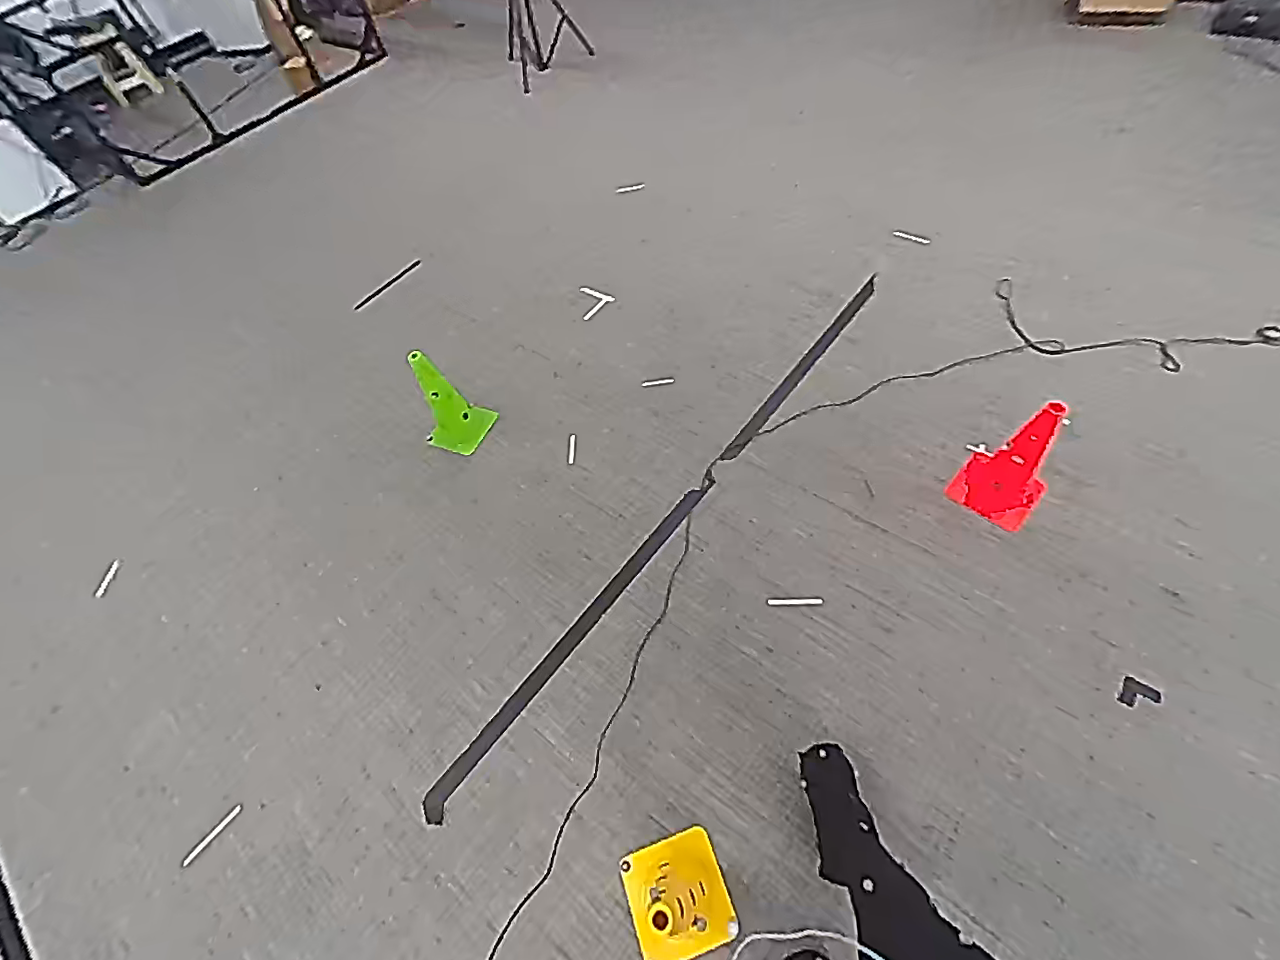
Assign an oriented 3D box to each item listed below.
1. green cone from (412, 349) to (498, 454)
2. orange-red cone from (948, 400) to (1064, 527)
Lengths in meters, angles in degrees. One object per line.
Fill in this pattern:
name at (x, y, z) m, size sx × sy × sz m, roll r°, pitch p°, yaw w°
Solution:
green cone at (-0.652, -0.282, 1.792) m, size 0.200 × 0.368 × 0.202 m, roll 16°, pitch 60°, yaw 19°
orange-red cone at (0.968, -0.070, 1.367) m, size 0.199 × 0.360 × 0.198 m, roll -42°, pitch 59°, yaw -16°
